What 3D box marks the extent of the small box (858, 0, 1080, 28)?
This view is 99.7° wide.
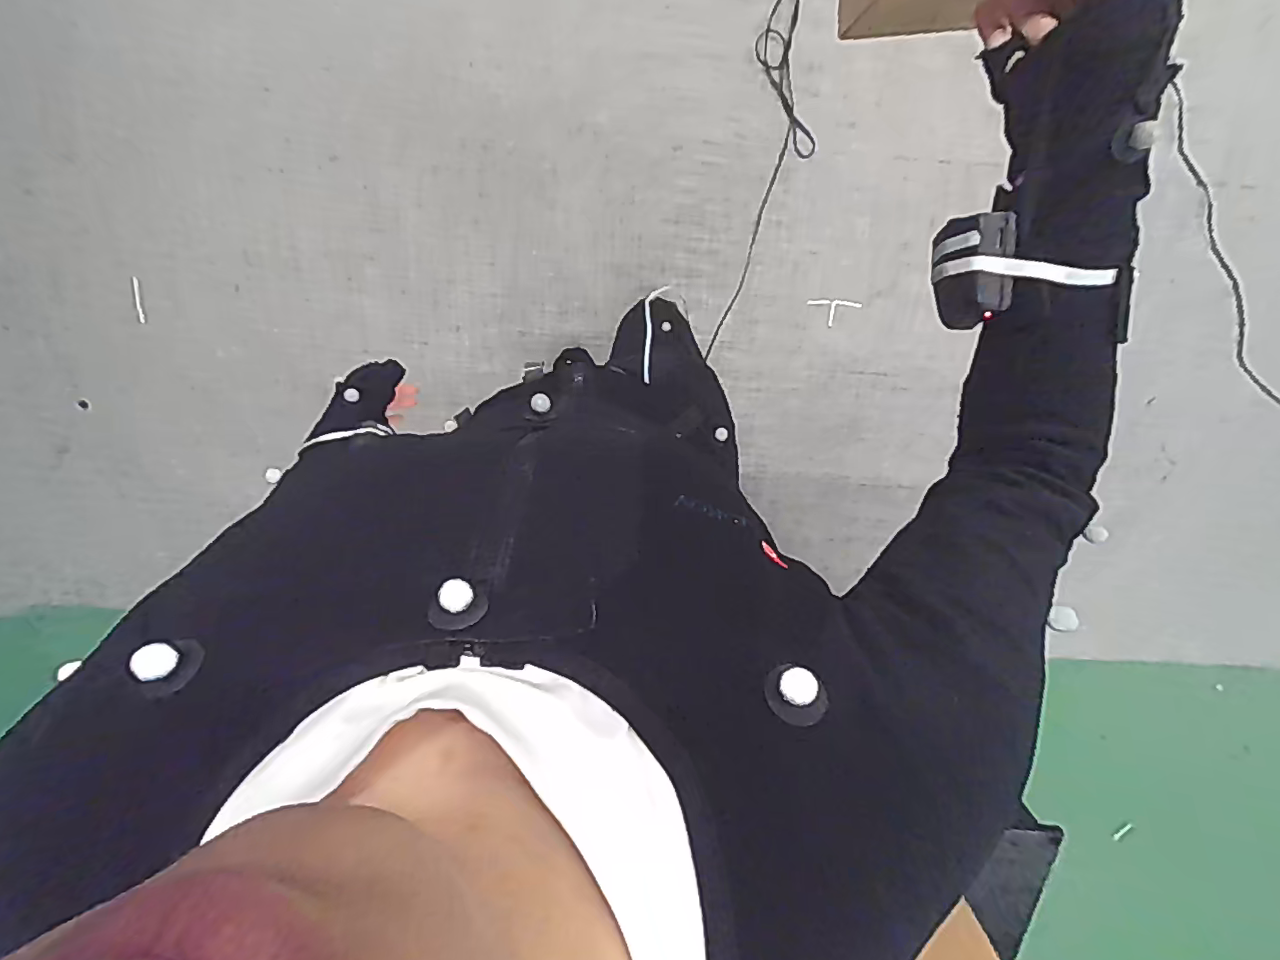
[{"bbox_3d":[0.243,-0.406,0.322,0.168,0.176,0.179,-6,109,-3],"label":"small box"}]
